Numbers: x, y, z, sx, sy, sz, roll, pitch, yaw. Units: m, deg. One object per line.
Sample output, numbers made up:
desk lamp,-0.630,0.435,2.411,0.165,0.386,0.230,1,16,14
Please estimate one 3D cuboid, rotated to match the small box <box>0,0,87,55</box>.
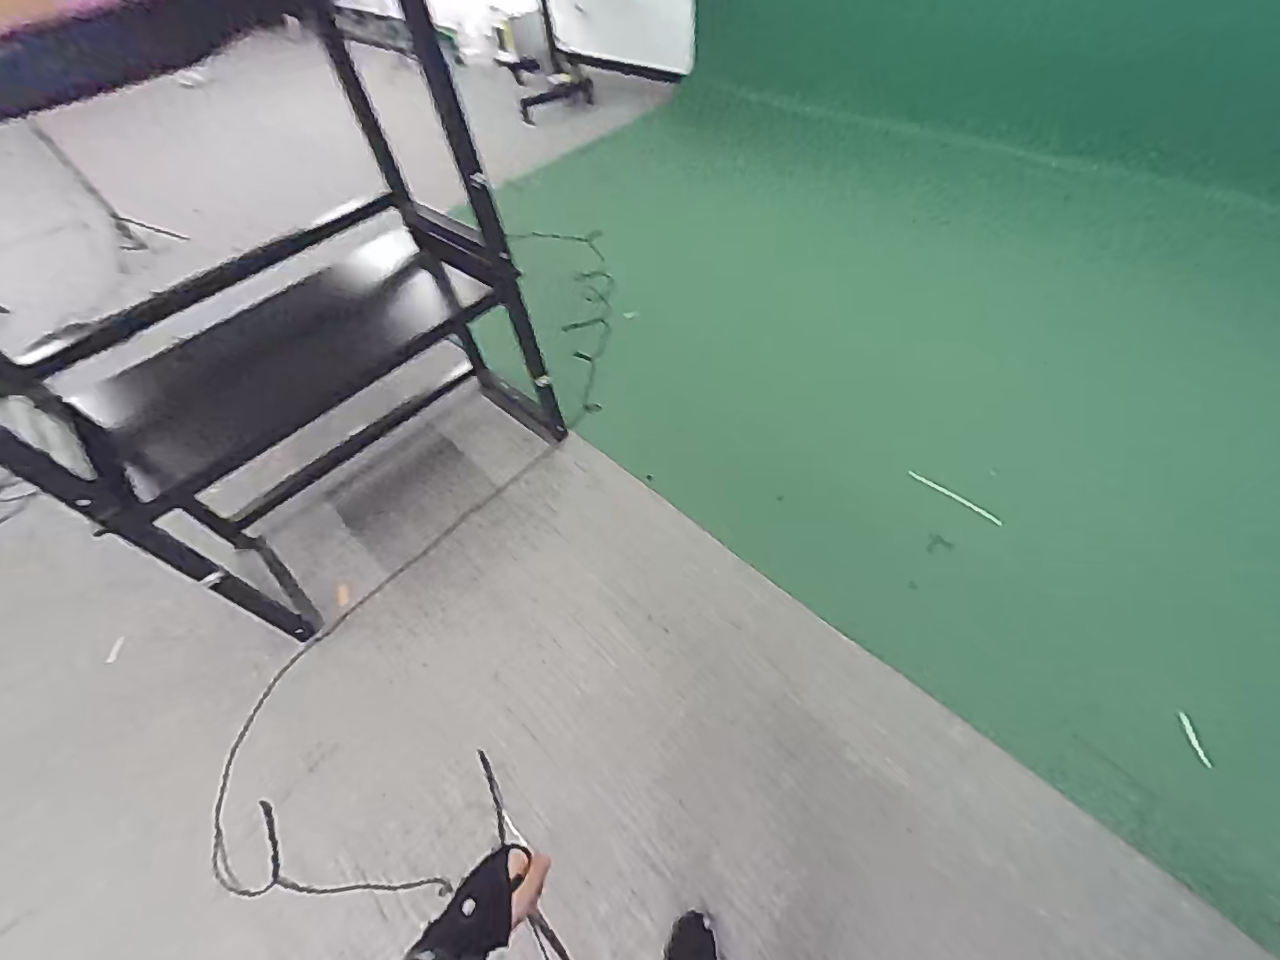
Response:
small box,-1.014,-0.768,0.820,0.179,0.176,0.168,-39,56,-20
